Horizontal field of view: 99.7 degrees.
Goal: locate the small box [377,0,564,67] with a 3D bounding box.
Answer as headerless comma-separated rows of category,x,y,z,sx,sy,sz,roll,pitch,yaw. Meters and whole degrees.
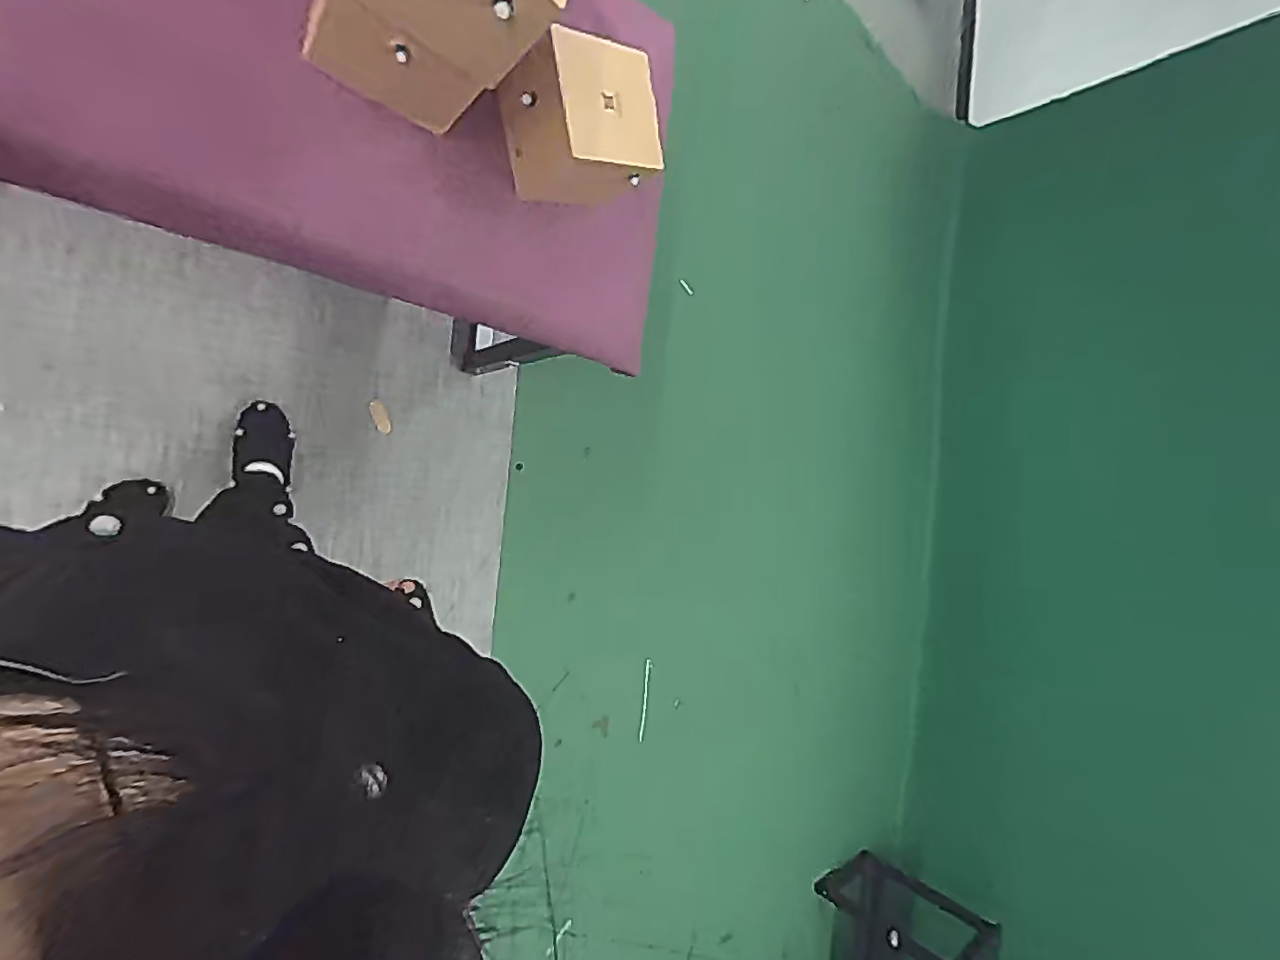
small box,-0.177,-0.564,0.537,0.179,0.176,0.168,13,85,-41

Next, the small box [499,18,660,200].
small box,-0.098,-0.546,0.828,0.179,0.176,0.168,-19,105,-39

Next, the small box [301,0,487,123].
small box,-0.288,-0.583,0.656,0.179,0.176,0.168,12,86,-42
